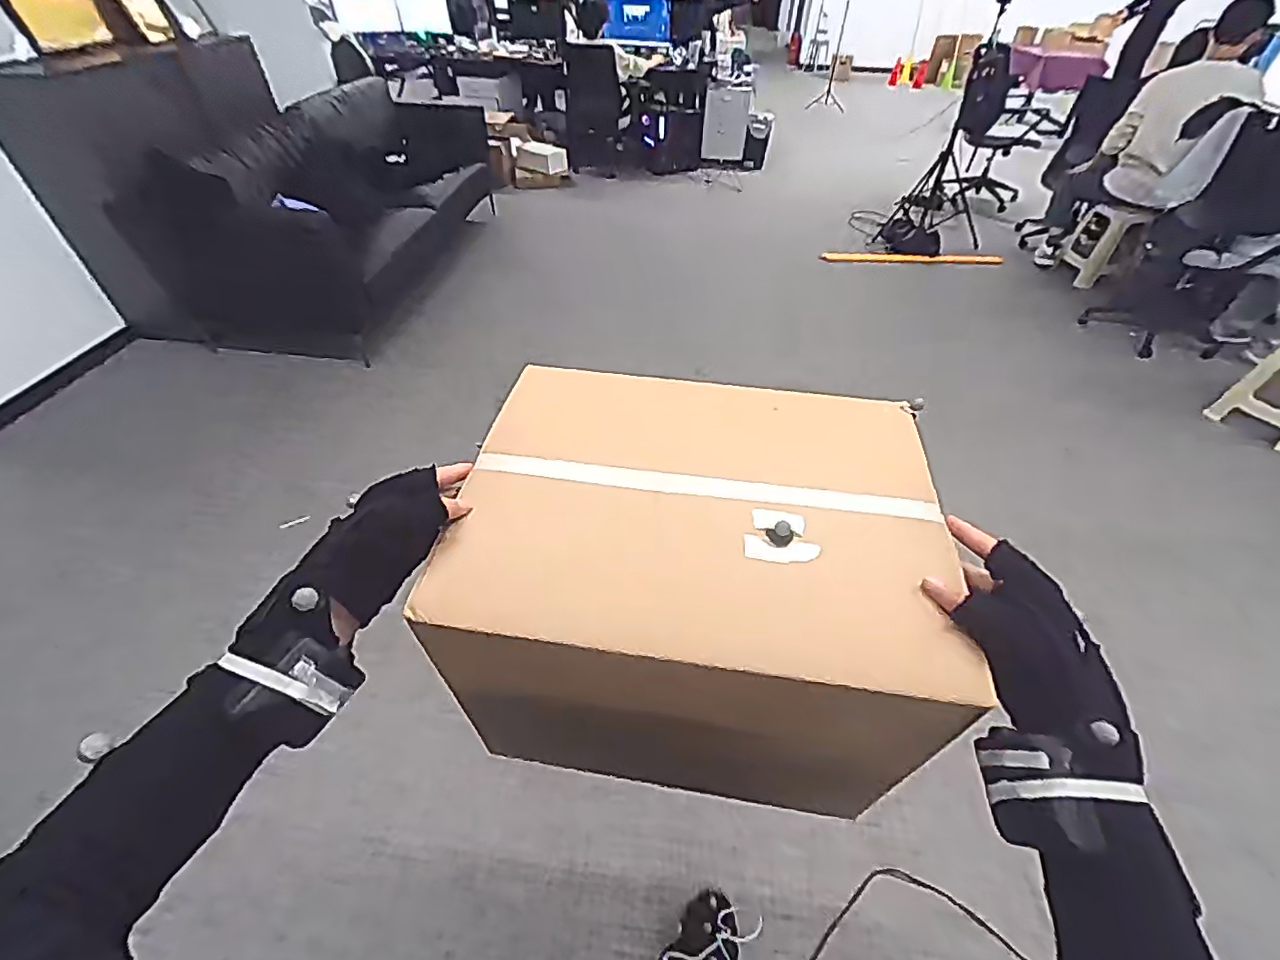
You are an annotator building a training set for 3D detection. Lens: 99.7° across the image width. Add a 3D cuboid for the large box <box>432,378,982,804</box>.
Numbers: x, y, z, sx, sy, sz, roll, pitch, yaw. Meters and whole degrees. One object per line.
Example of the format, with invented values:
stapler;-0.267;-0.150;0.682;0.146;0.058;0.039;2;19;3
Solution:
large box;0.055;0.118;0.592;0.408;0.320;0.320;7;47;5
